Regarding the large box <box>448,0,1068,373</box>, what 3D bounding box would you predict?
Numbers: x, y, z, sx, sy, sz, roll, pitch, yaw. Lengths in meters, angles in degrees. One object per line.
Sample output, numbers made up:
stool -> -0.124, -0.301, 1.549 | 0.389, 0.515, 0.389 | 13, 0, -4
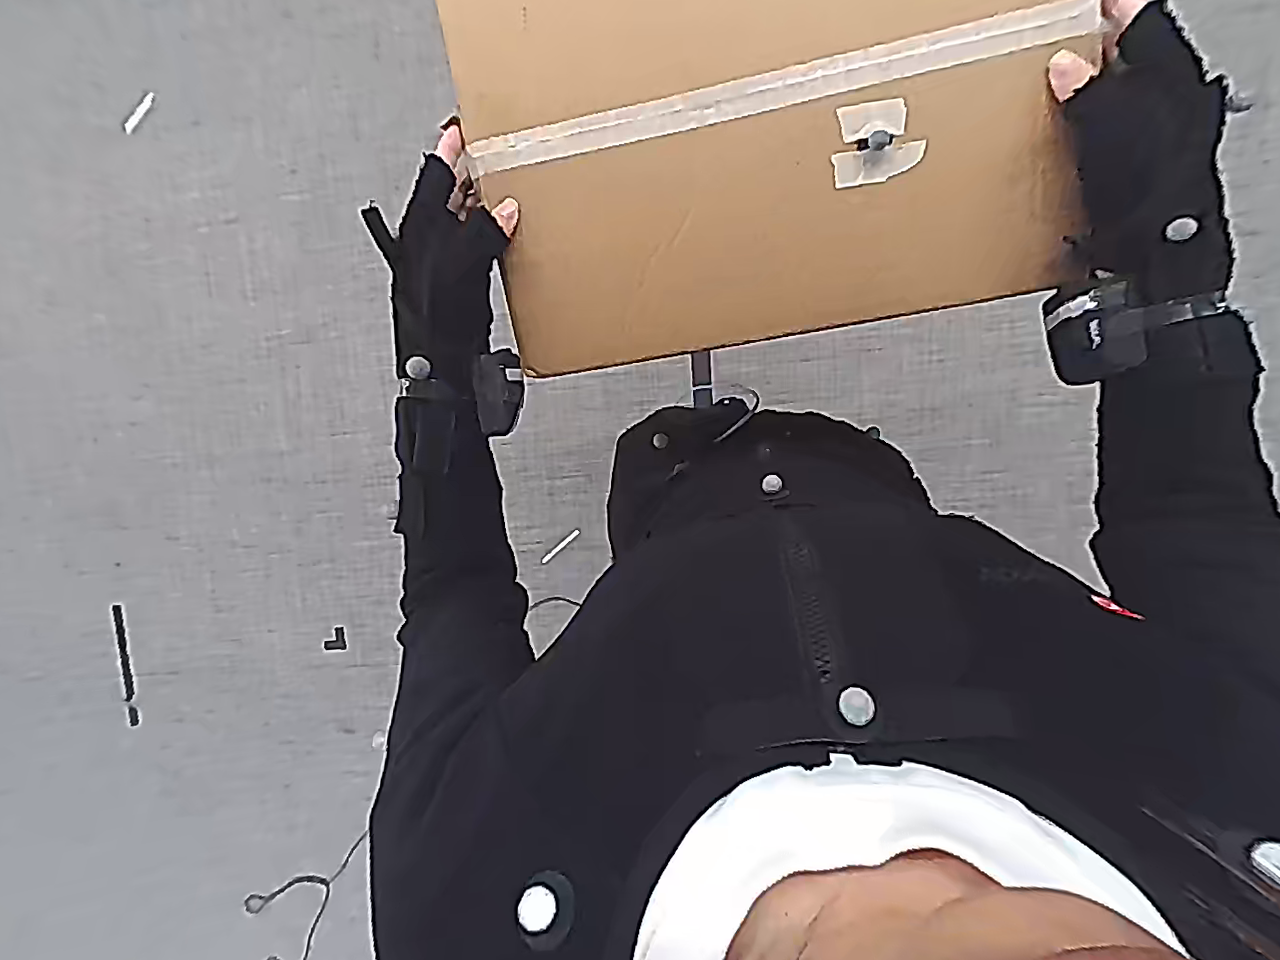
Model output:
large box -> 0.091, -0.302, 0.516 | 0.408, 0.320, 0.320 | -9, 106, 7
